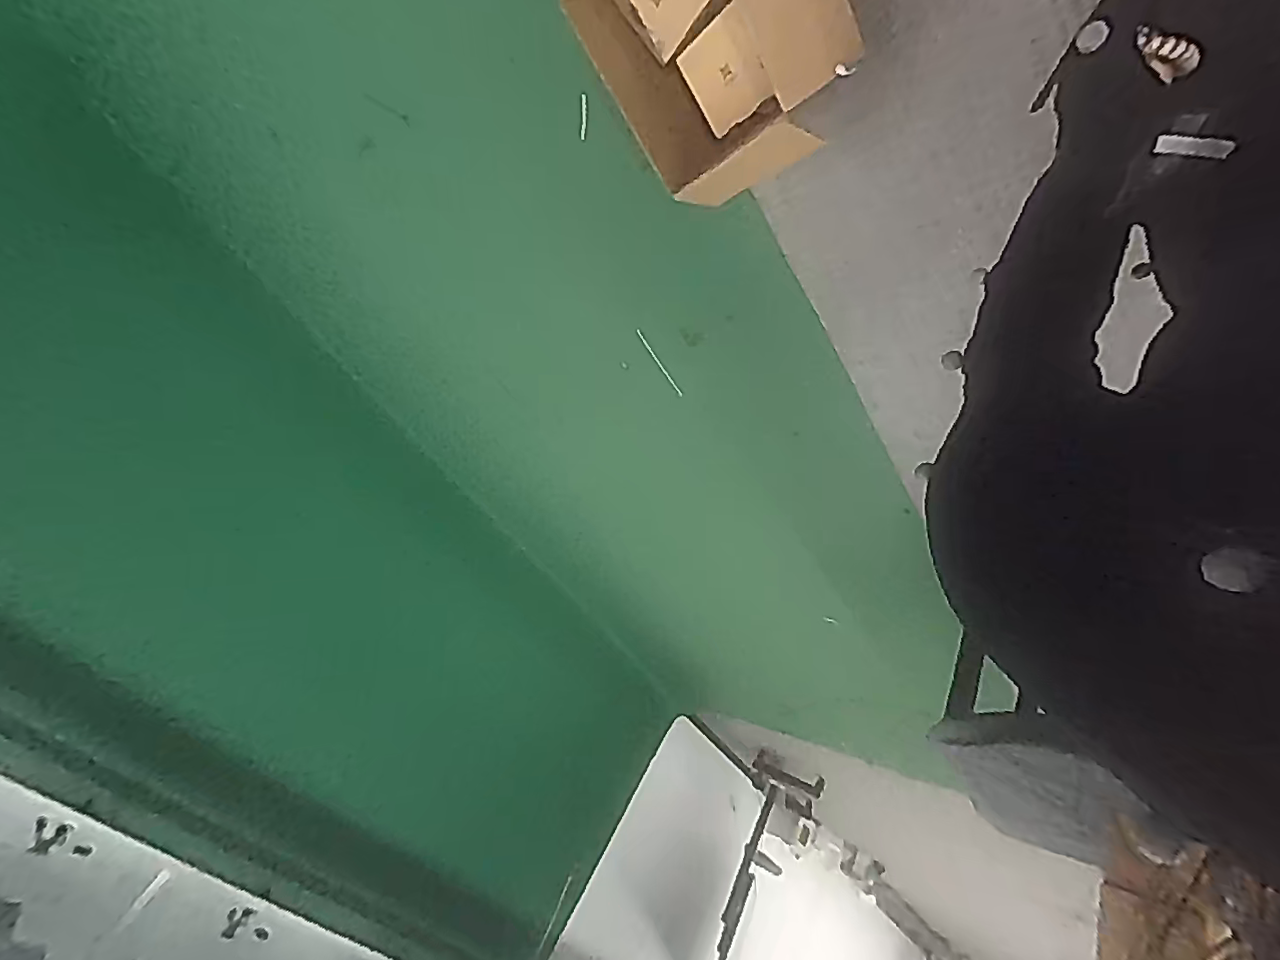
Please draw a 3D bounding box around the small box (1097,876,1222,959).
[{"bbox_3d":[1.072,0.966,1.116,0.168,0.176,0.179,-11,127,51],"label":"small box"}]
